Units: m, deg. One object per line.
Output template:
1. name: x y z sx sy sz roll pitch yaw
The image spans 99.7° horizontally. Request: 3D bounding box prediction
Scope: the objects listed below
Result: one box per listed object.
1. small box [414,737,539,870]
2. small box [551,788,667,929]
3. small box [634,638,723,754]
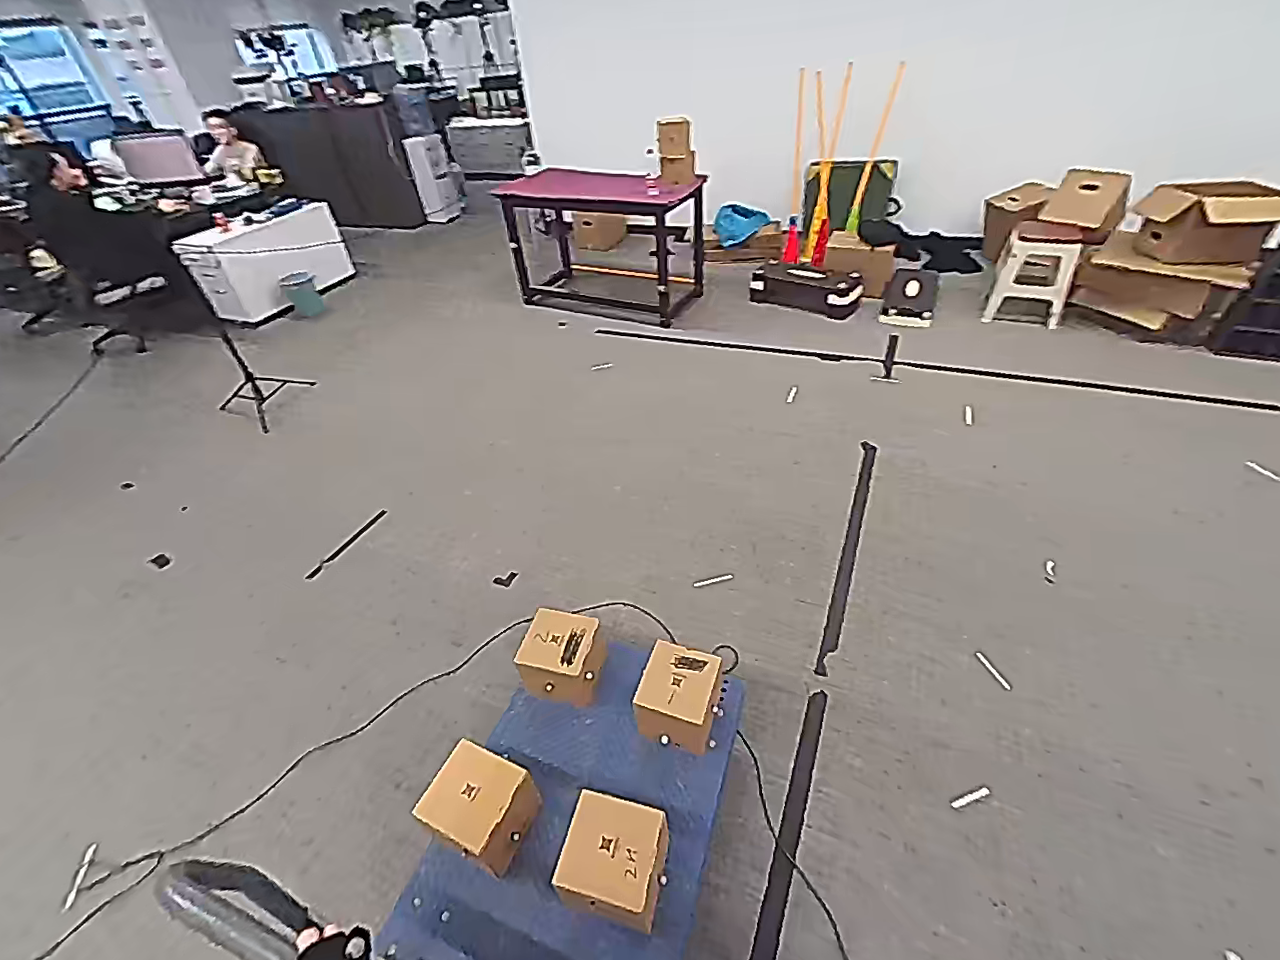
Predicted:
1. small box: -0.341 0.694 1.158 0.179 0.176 0.168 15 44 20
2. small box: -0.051 0.745 1.064 0.179 0.176 0.168 7 42 15
3. small box: 0.096 0.522 1.308 0.168 0.176 0.179 11 44 19
